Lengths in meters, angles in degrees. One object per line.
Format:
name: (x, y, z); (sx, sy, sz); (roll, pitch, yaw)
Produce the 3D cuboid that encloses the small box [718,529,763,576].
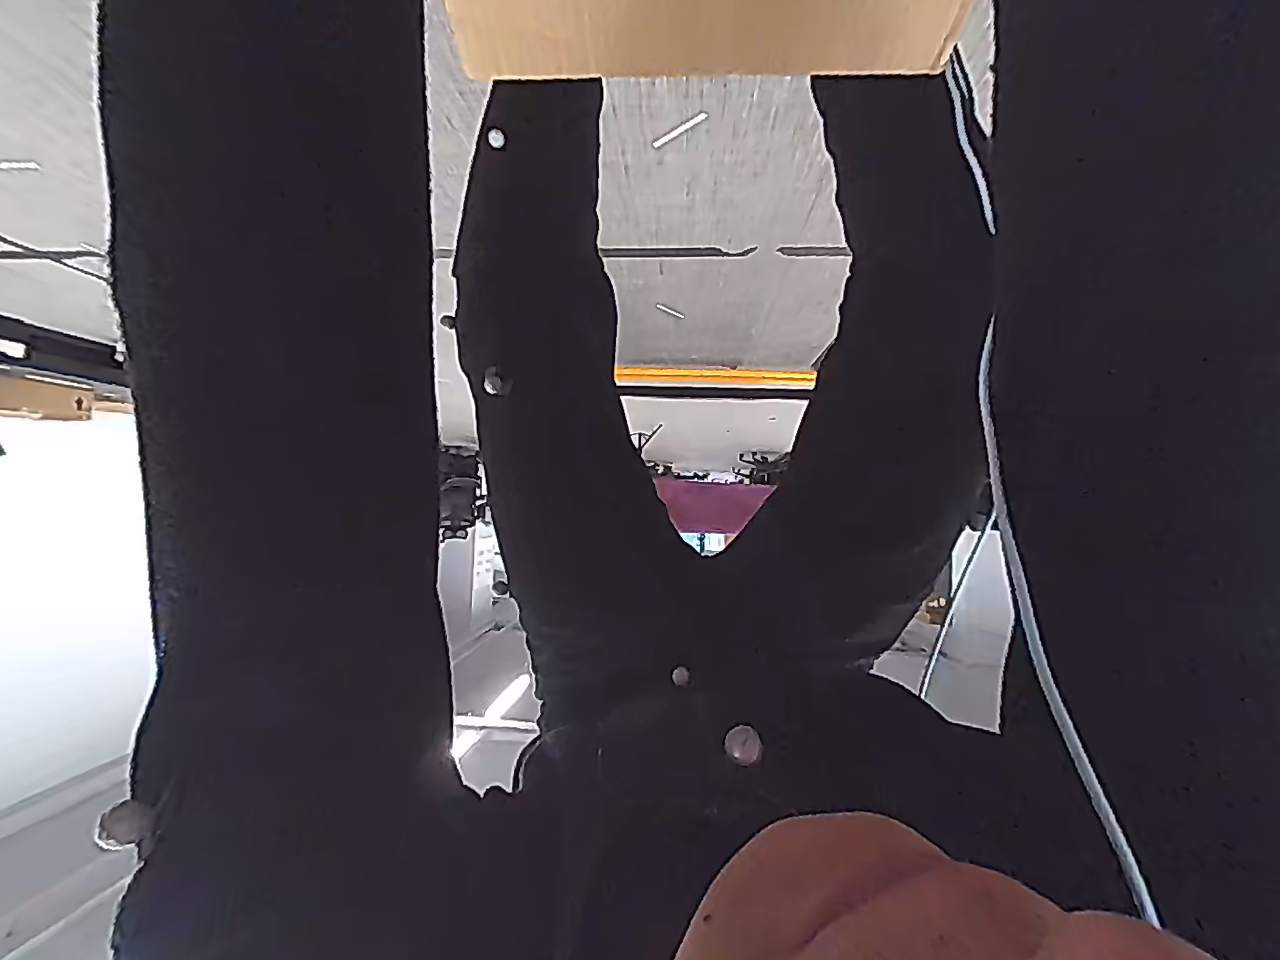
small box: (0.396, 0.283, 2.142); (0.168, 0.176, 0.179); (2, 178, 6)
